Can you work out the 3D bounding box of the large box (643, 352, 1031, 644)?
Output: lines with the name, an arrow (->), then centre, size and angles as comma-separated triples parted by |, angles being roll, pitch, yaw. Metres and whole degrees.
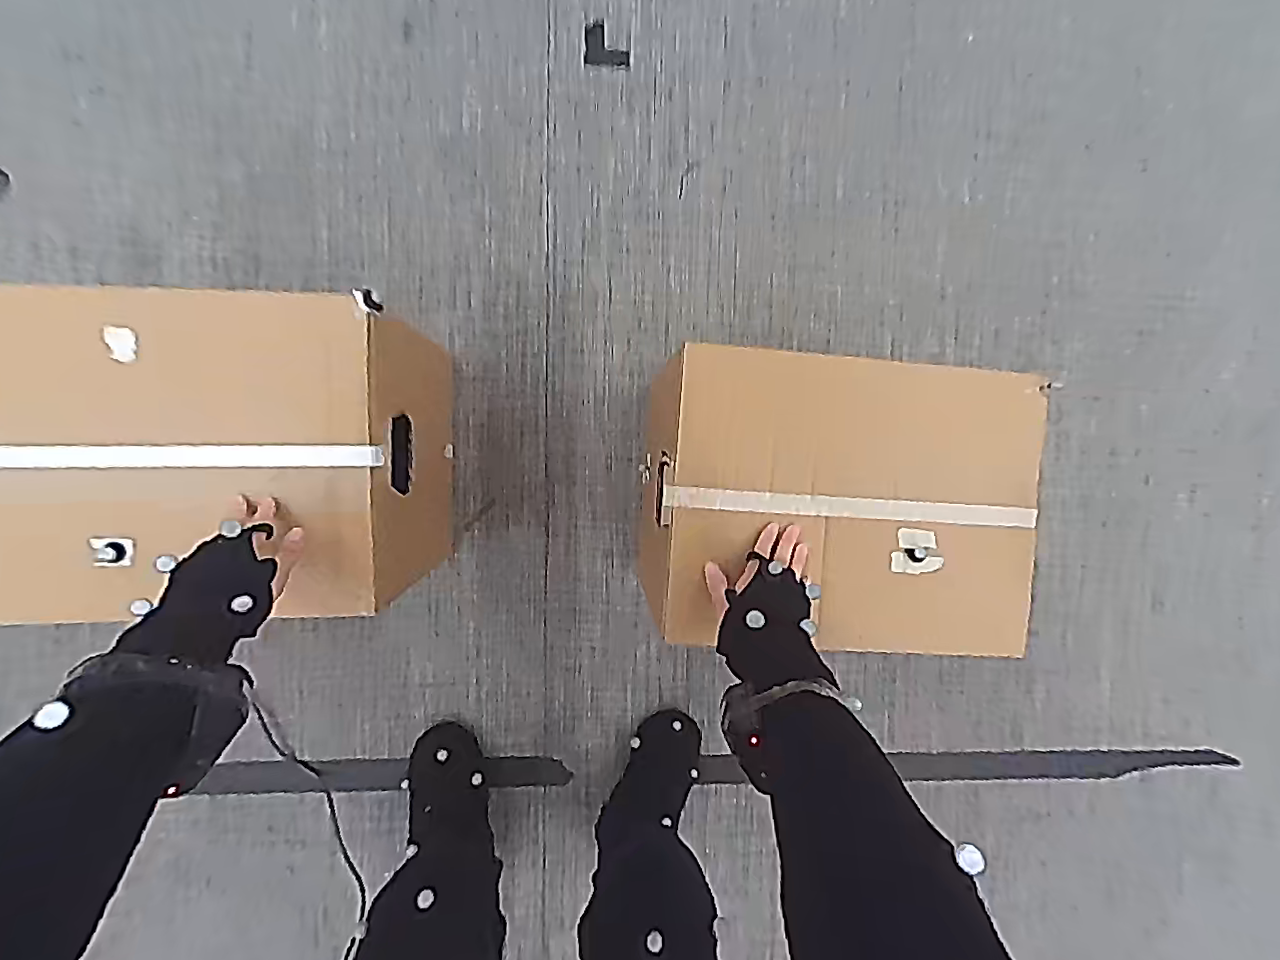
large box -> 0.222, 0.022, 0.742 | 0.408, 0.320, 0.320 | 4, 93, -6
